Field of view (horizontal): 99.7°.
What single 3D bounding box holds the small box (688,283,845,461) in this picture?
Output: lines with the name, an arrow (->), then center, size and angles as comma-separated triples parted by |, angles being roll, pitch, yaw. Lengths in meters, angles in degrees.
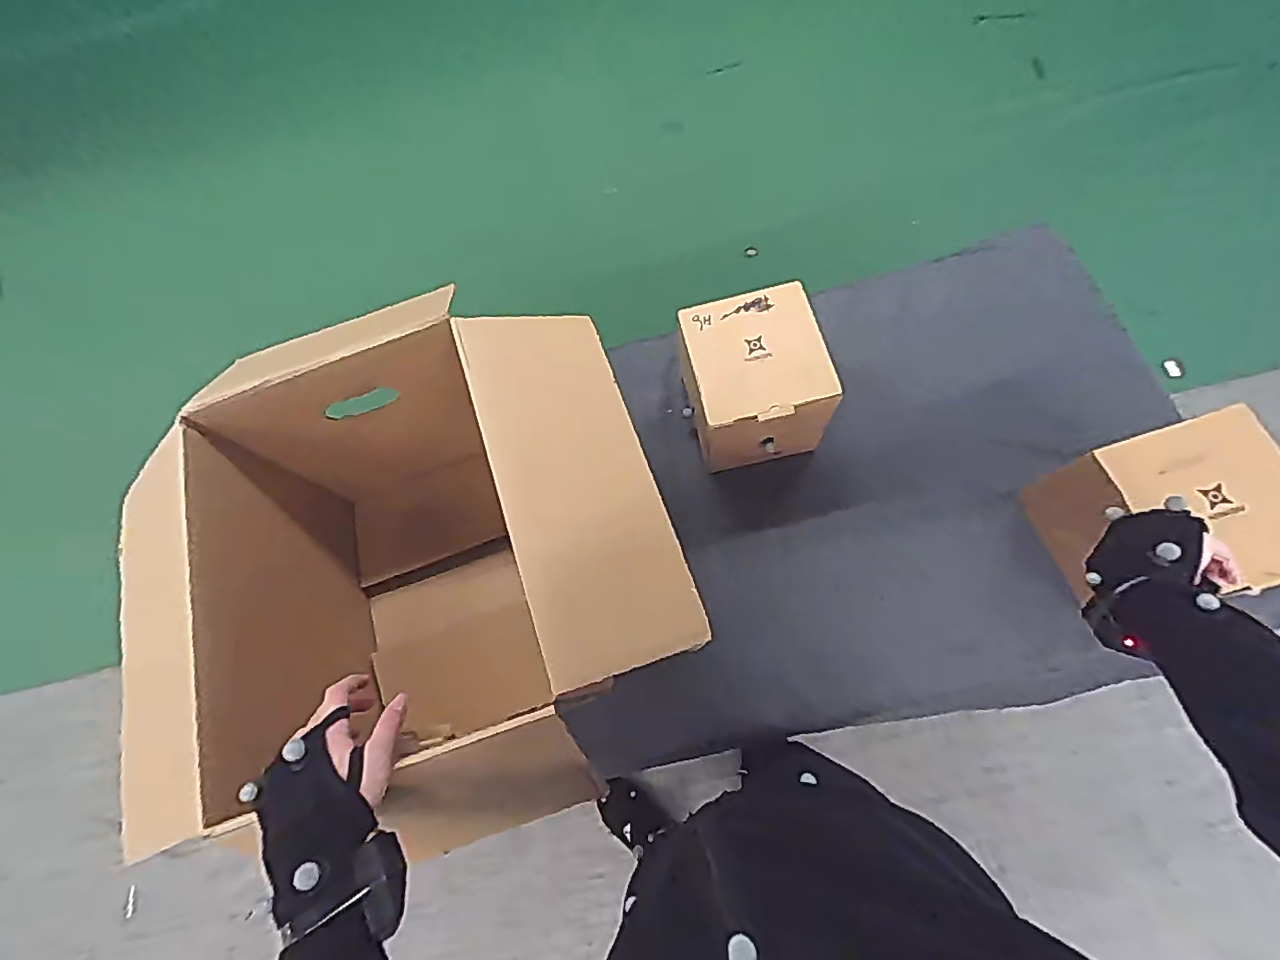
small box -> 0.166, -0.137, 0.760 | 0.168, 0.176, 0.179 | -12, 71, 3

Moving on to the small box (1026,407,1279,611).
small box -> 0.610, 0.047, 0.632 | 0.168, 0.176, 0.179 | -18, 69, 3
